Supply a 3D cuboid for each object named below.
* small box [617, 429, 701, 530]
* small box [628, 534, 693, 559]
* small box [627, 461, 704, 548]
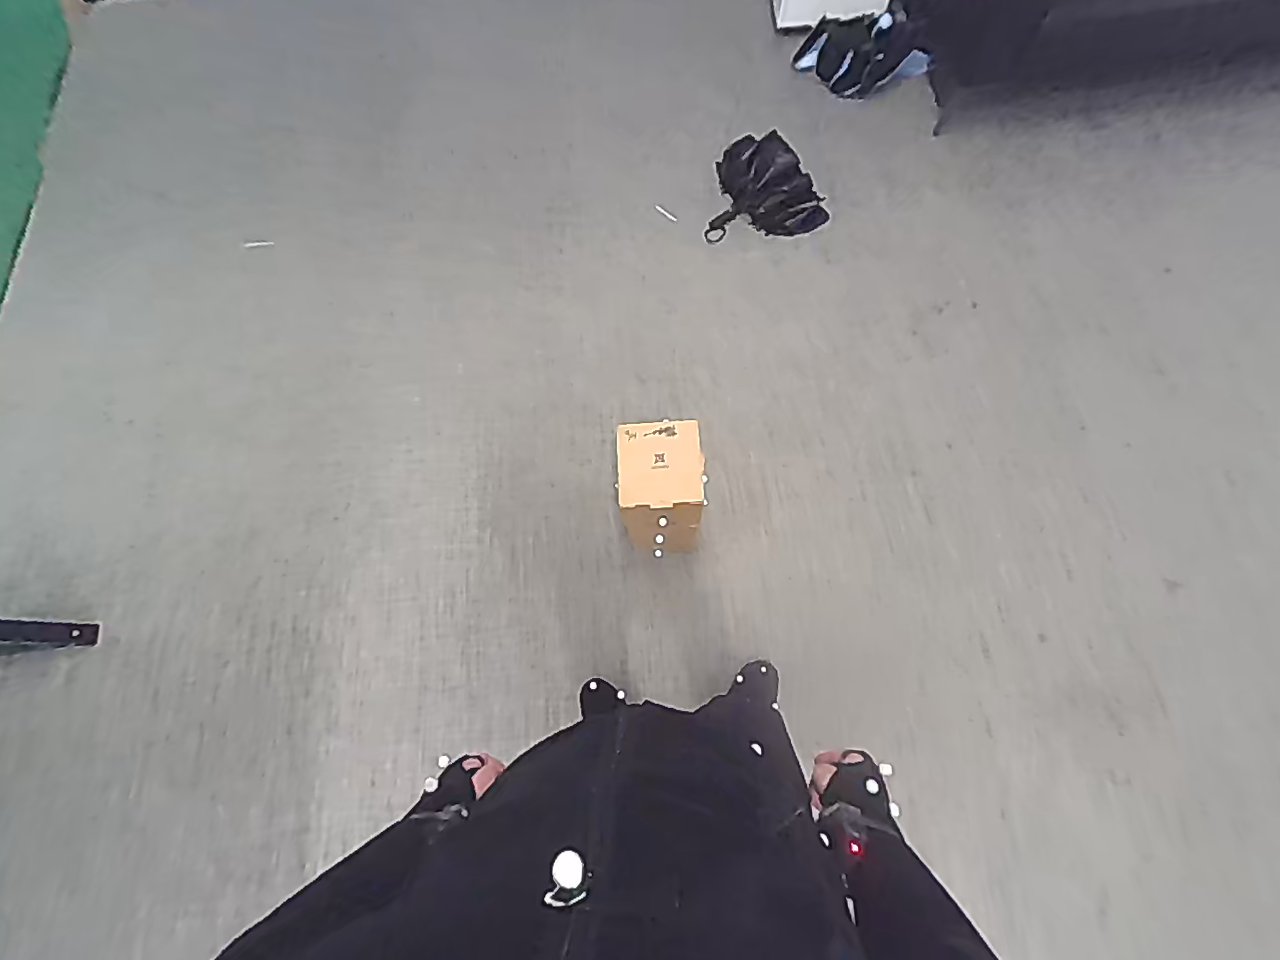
[{"bbox_3d":[0.041,0.007,1.140,0.168,0.176,0.179,-2,72,2],"label":"small box"},{"bbox_3d":[0.063,0.106,1.451,0.168,0.176,0.179,5,73,5],"label":"small box"},{"bbox_3d":[0.058,0.054,1.295,0.168,0.176,0.179,6,72,5],"label":"small box"}]
